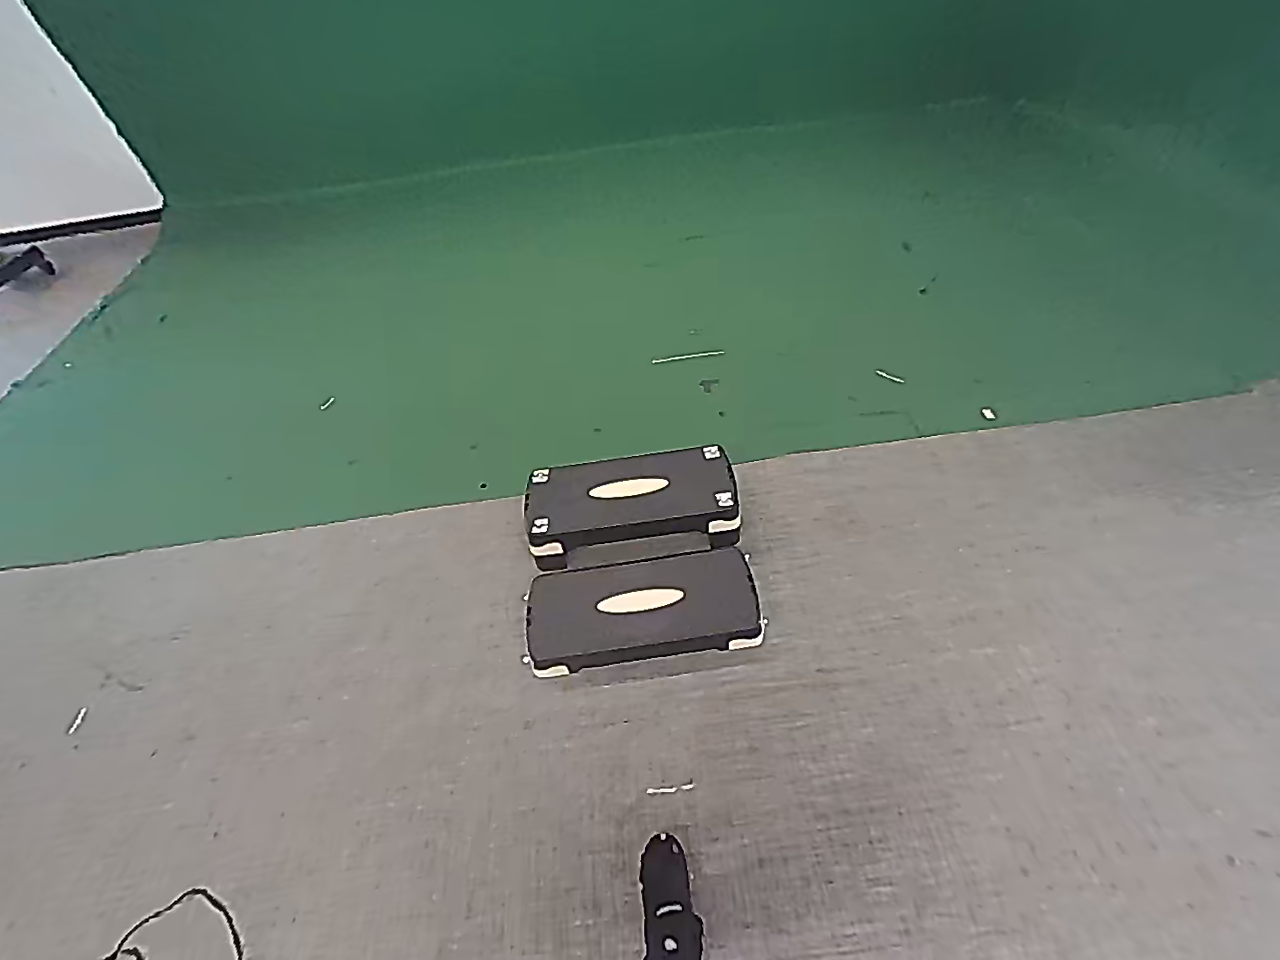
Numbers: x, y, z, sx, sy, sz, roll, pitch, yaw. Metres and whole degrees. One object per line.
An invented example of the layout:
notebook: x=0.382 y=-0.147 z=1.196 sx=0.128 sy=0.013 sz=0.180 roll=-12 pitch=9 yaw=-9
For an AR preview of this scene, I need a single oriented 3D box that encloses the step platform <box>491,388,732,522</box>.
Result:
step platform: x=-0.080 y=-0.072 z=1.610 sx=0.684 sy=0.204 sz=0.286 roll=-9 pitch=51 yaw=1
